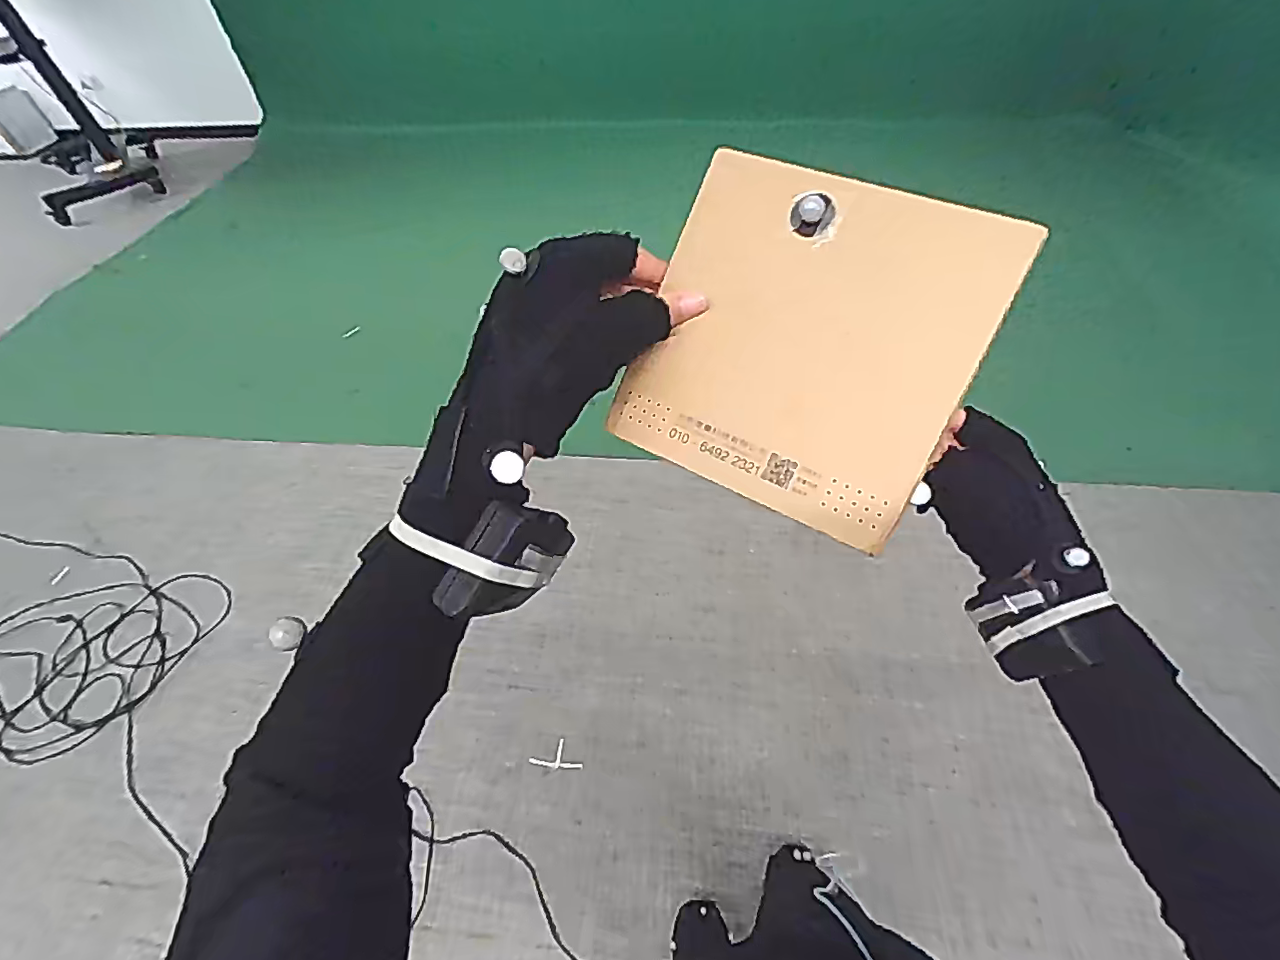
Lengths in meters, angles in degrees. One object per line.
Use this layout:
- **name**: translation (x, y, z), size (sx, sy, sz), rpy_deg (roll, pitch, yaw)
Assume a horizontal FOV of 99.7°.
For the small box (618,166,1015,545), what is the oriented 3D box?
- **small box**: translation (0.107, -0.068, 0.367), size (0.168, 0.179, 0.176), rpy_deg (25, 98, 20)
